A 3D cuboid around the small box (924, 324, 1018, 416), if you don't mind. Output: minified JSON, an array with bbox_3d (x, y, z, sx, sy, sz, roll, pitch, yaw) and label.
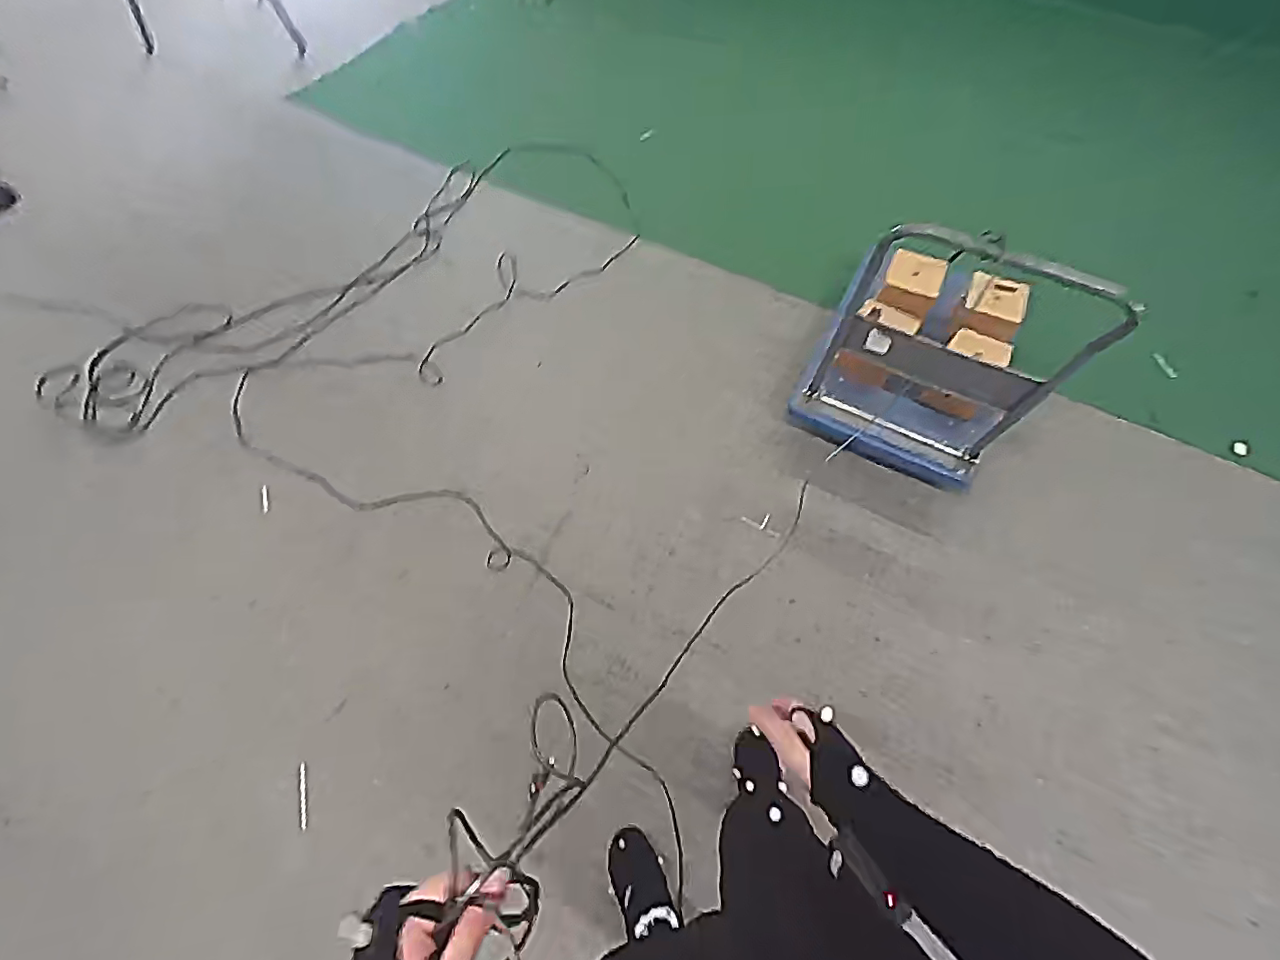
[{"bbox_3d":[0.992,-0.327,1.633,0.168,0.176,0.179,27,66,14],"label":"small box"}]

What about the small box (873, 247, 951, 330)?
[{"bbox_3d":[0.895,-0.630,1.792,0.168,0.176,0.179,23,65,11],"label":"small box"}]

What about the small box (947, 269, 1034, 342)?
[{"bbox_3d":[1.123,-0.537,1.742,0.168,0.176,0.179,22,65,12],"label":"small box"}]
